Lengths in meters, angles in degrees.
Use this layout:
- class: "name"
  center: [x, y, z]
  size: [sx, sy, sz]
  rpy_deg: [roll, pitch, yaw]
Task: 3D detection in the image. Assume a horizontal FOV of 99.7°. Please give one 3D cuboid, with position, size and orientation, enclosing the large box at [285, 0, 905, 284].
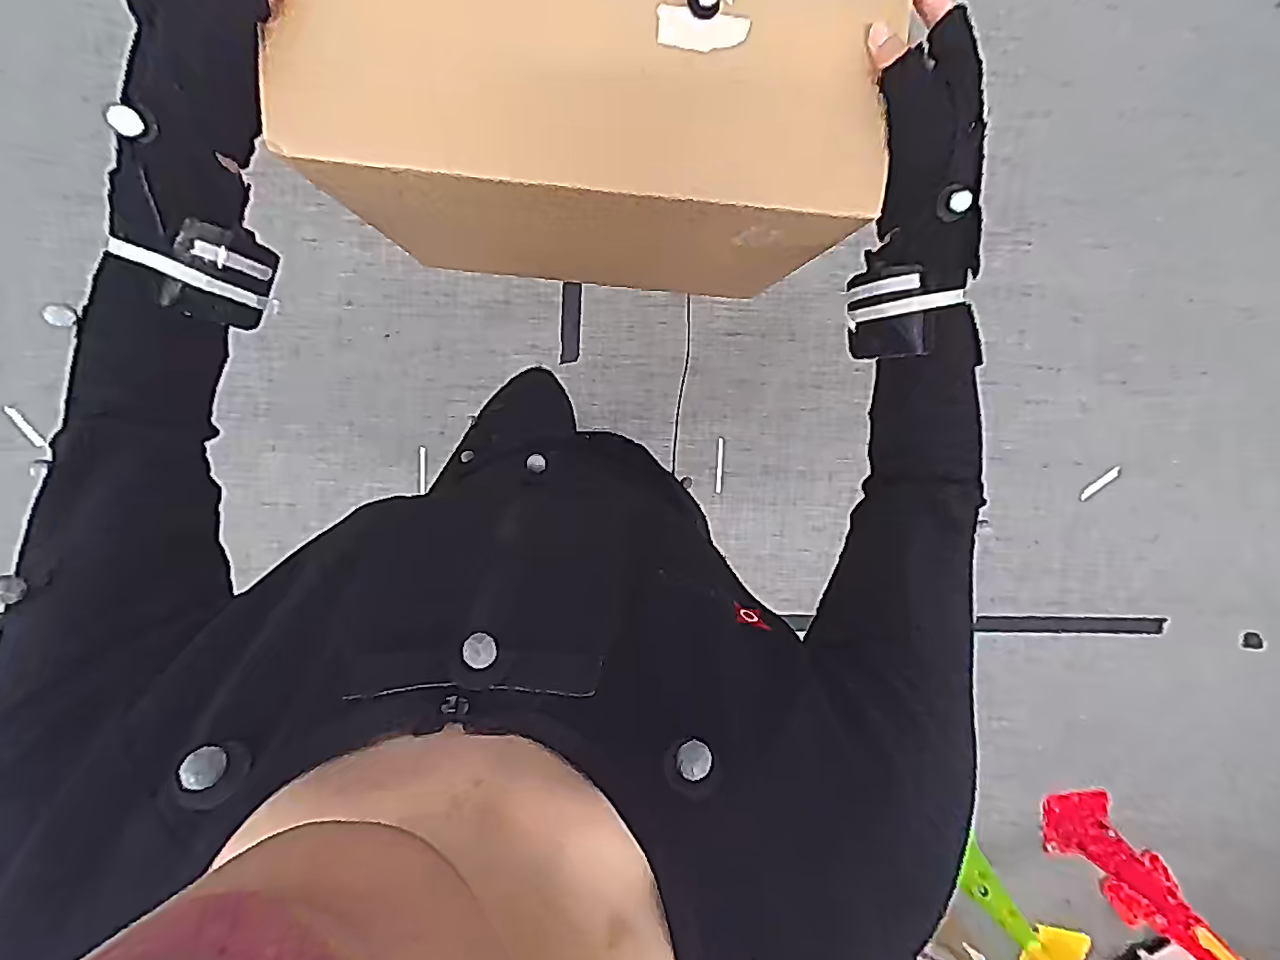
- class: "large box"
  center: [-0.032, -0.377, 0.487]
  size: [0.408, 0.320, 0.320]
  rpy_deg: [3, 99, -6]
